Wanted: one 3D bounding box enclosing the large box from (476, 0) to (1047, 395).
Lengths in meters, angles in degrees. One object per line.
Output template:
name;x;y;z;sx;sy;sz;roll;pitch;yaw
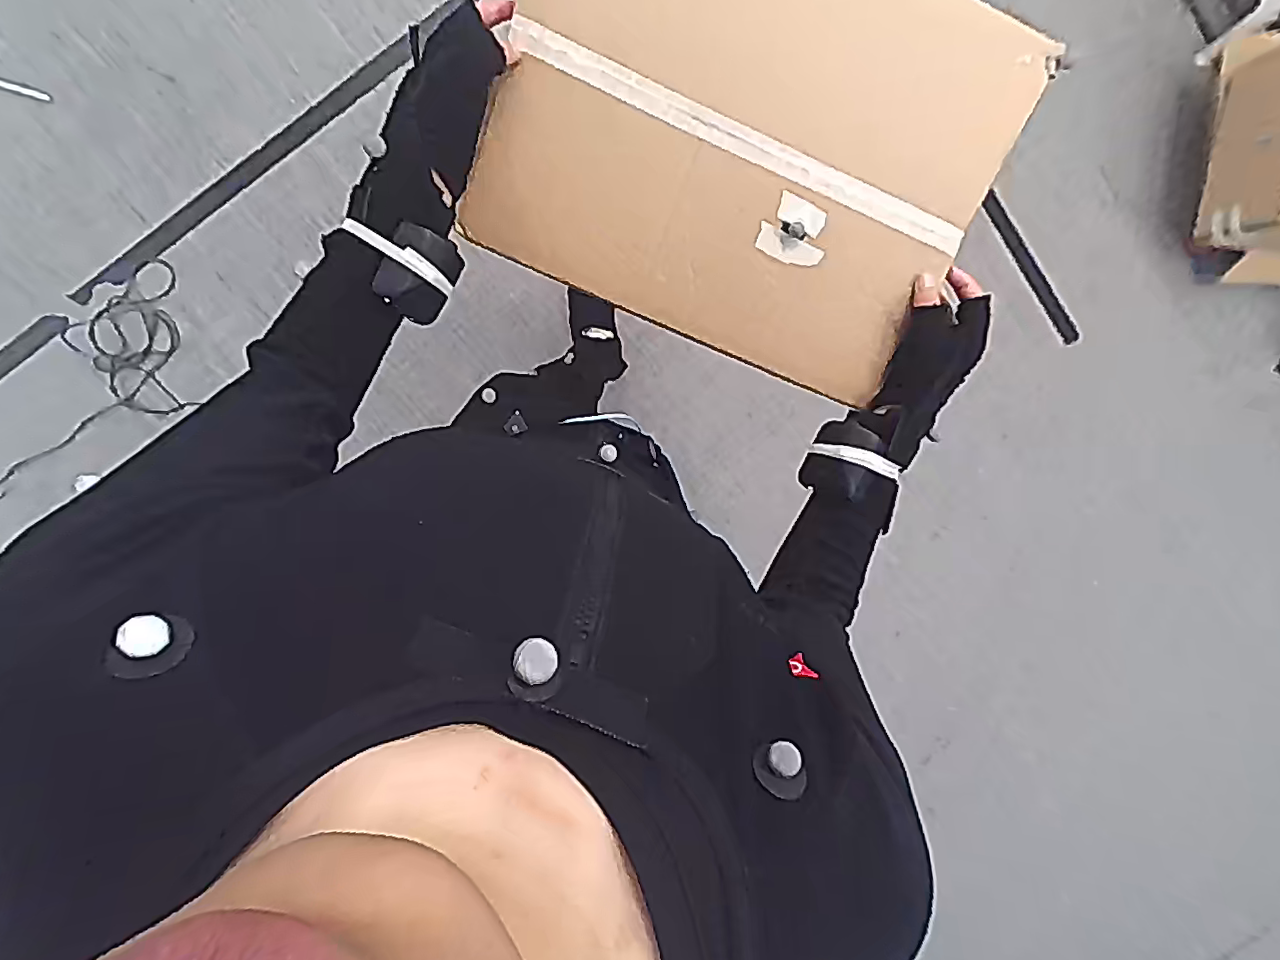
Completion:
large box;0.090;-0.328;0.597;0.408;0.320;0.320;22;107;-8
